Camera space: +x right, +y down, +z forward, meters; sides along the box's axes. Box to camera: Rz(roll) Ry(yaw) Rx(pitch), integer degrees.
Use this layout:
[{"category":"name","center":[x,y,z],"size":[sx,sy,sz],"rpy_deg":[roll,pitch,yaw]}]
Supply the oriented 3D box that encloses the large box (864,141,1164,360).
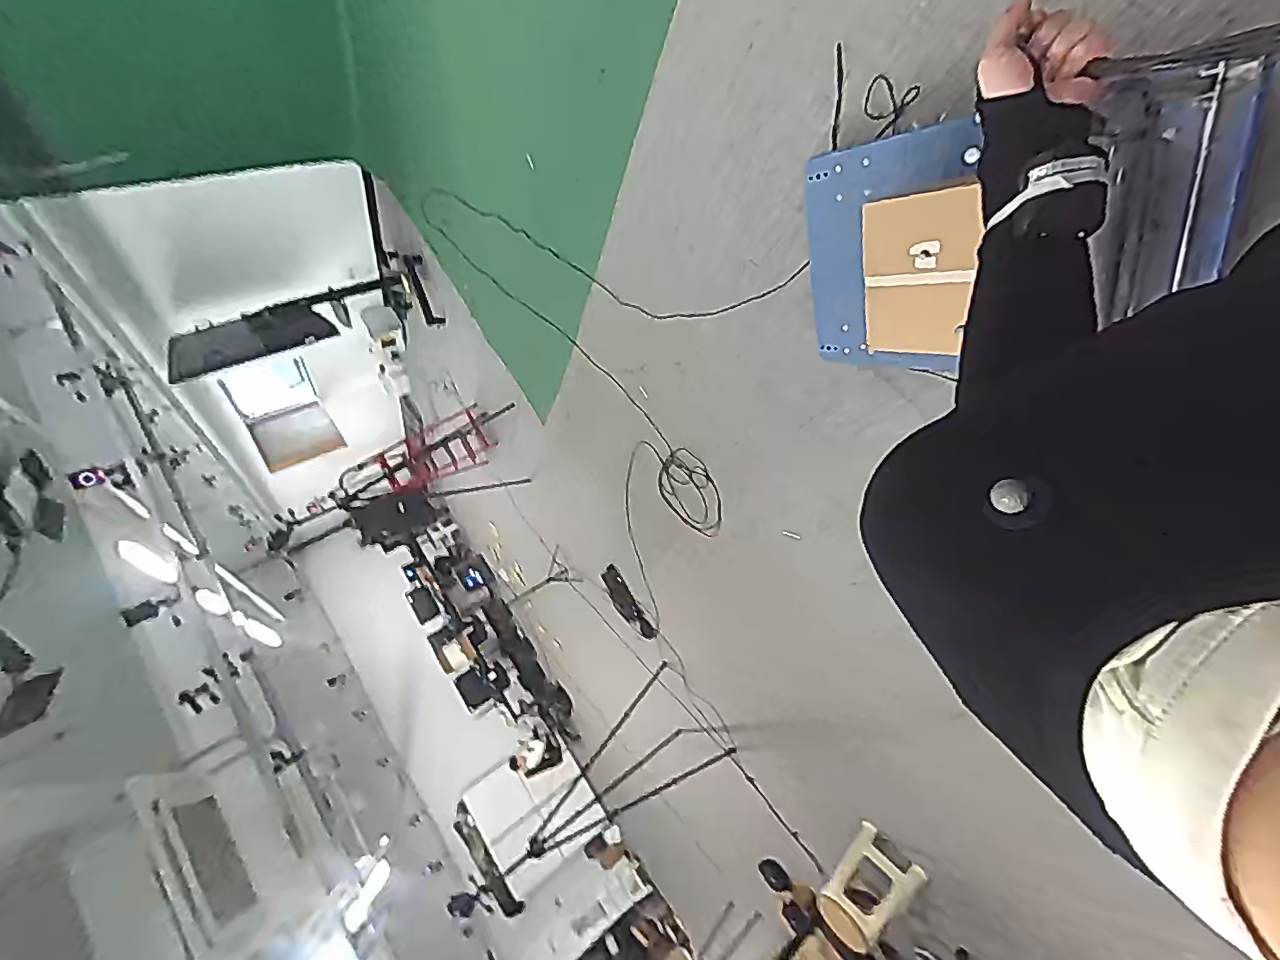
[{"category":"large box","center":[0.730,-0.449,1.098],"size":[0.408,0.320,0.320],"rpy_deg":[22,132,51]}]
